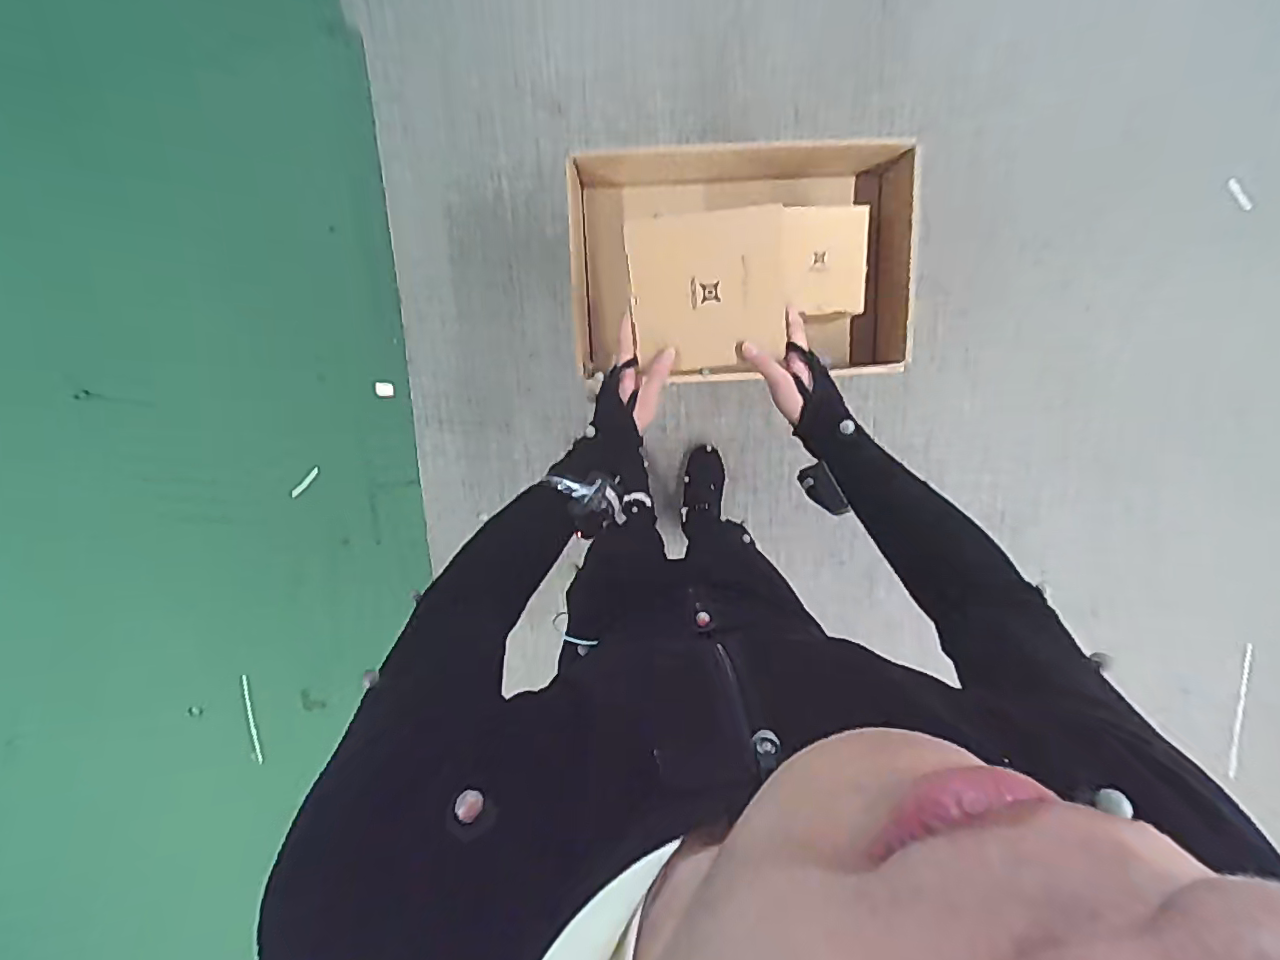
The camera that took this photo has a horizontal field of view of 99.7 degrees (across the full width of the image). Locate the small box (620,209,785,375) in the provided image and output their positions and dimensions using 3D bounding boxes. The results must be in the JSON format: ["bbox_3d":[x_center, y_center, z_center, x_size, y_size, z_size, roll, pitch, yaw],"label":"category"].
[{"bbox_3d":[0.073,-0.226,0.675,0.179,0.176,0.168,-5,107,2],"label":"small box"}]

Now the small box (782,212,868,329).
[{"bbox_3d":[0.308,-0.383,1.013,0.168,0.176,0.179,-1,100,-1],"label":"small box"}]
